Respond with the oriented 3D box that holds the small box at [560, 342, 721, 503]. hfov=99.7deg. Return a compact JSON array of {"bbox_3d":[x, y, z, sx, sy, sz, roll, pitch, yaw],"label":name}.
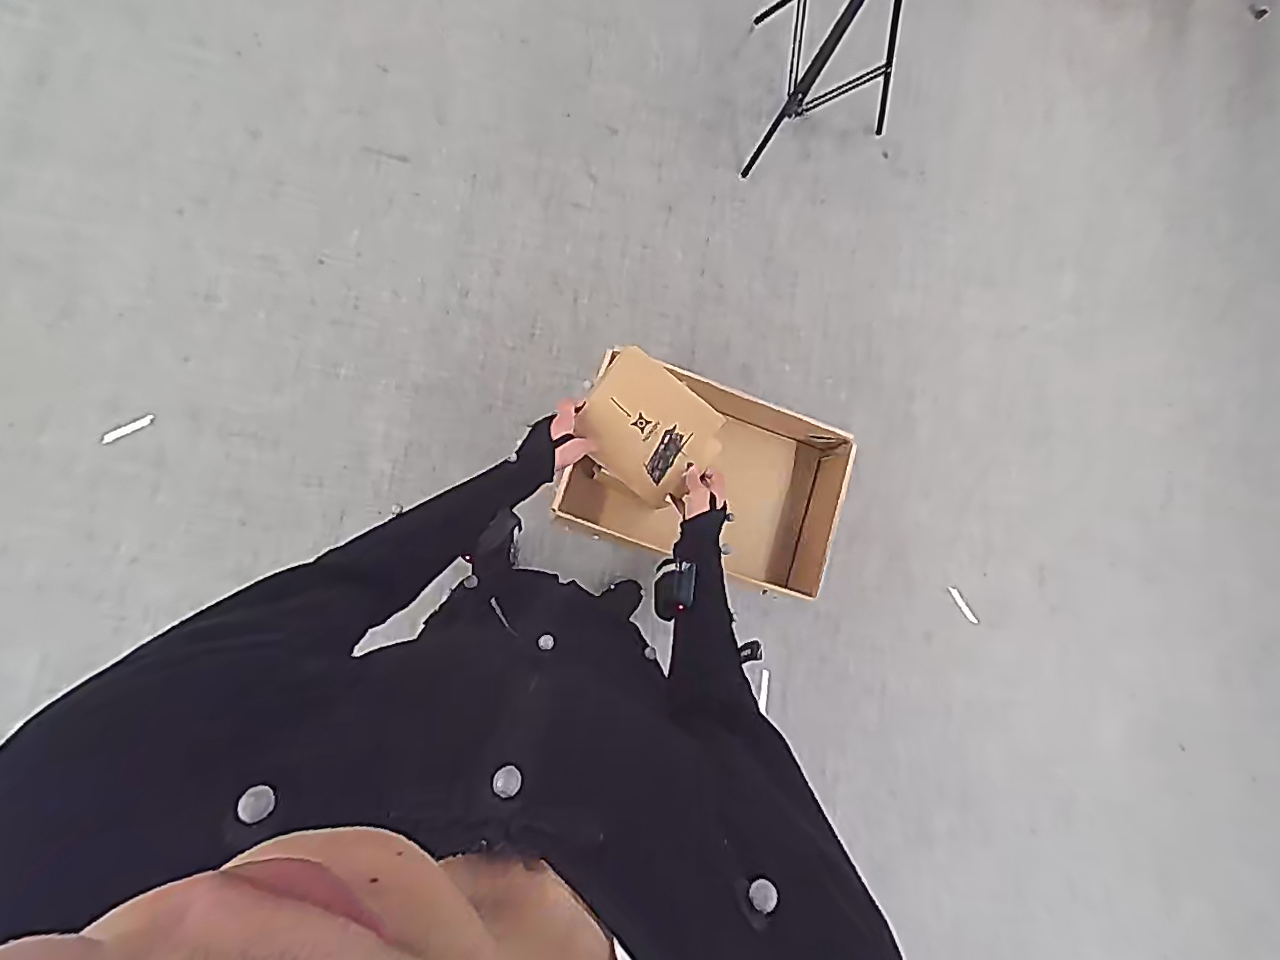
[{"bbox_3d":[-0.007,-0.091,0.846,0.179,0.176,0.168,38,90,-11],"label":"small box"}]
